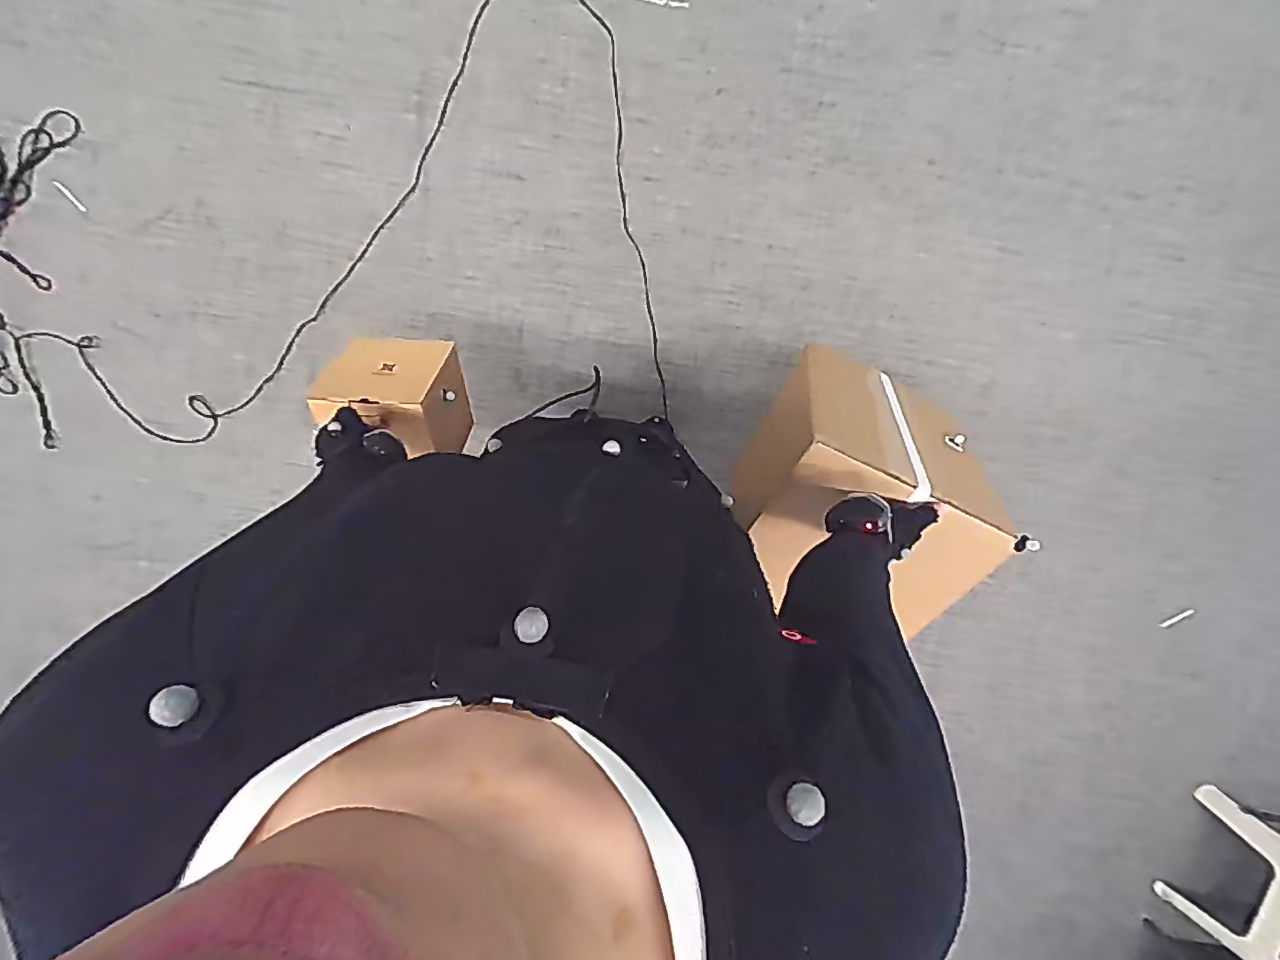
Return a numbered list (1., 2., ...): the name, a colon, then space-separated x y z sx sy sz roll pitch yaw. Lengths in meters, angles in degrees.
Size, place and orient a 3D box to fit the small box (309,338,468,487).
1. small box: -0.392 -0.111 0.884 0.168 0.179 0.176 2 134 0
